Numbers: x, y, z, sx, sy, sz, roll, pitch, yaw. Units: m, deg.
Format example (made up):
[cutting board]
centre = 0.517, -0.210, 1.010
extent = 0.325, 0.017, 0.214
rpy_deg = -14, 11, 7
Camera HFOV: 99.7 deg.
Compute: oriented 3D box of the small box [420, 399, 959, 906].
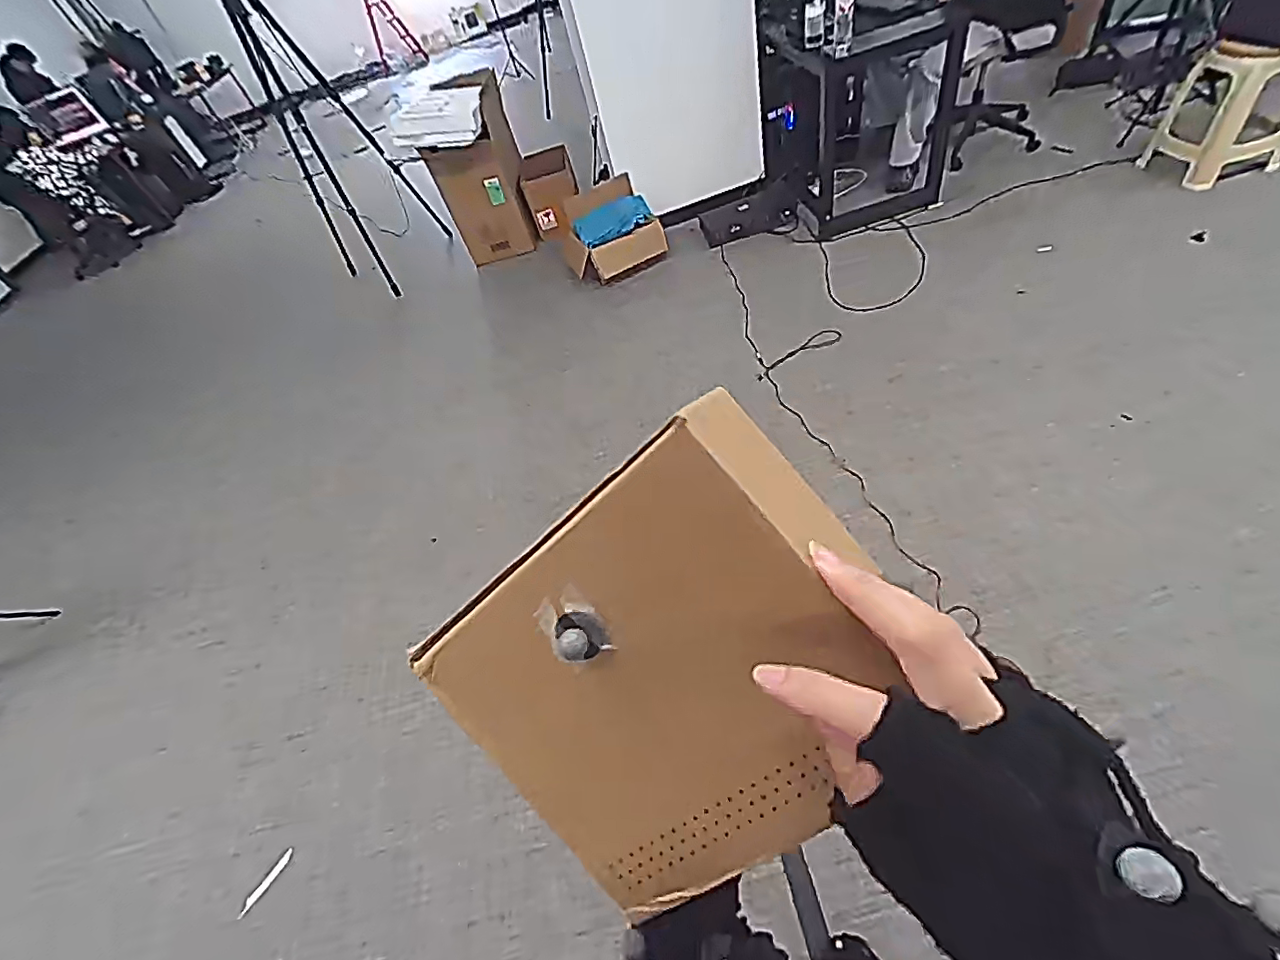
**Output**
[small box]
centre = 0.028, 0.081, 0.301
extent = 0.179, 0.176, 0.168
rpy_deg = -42, 1, 20
